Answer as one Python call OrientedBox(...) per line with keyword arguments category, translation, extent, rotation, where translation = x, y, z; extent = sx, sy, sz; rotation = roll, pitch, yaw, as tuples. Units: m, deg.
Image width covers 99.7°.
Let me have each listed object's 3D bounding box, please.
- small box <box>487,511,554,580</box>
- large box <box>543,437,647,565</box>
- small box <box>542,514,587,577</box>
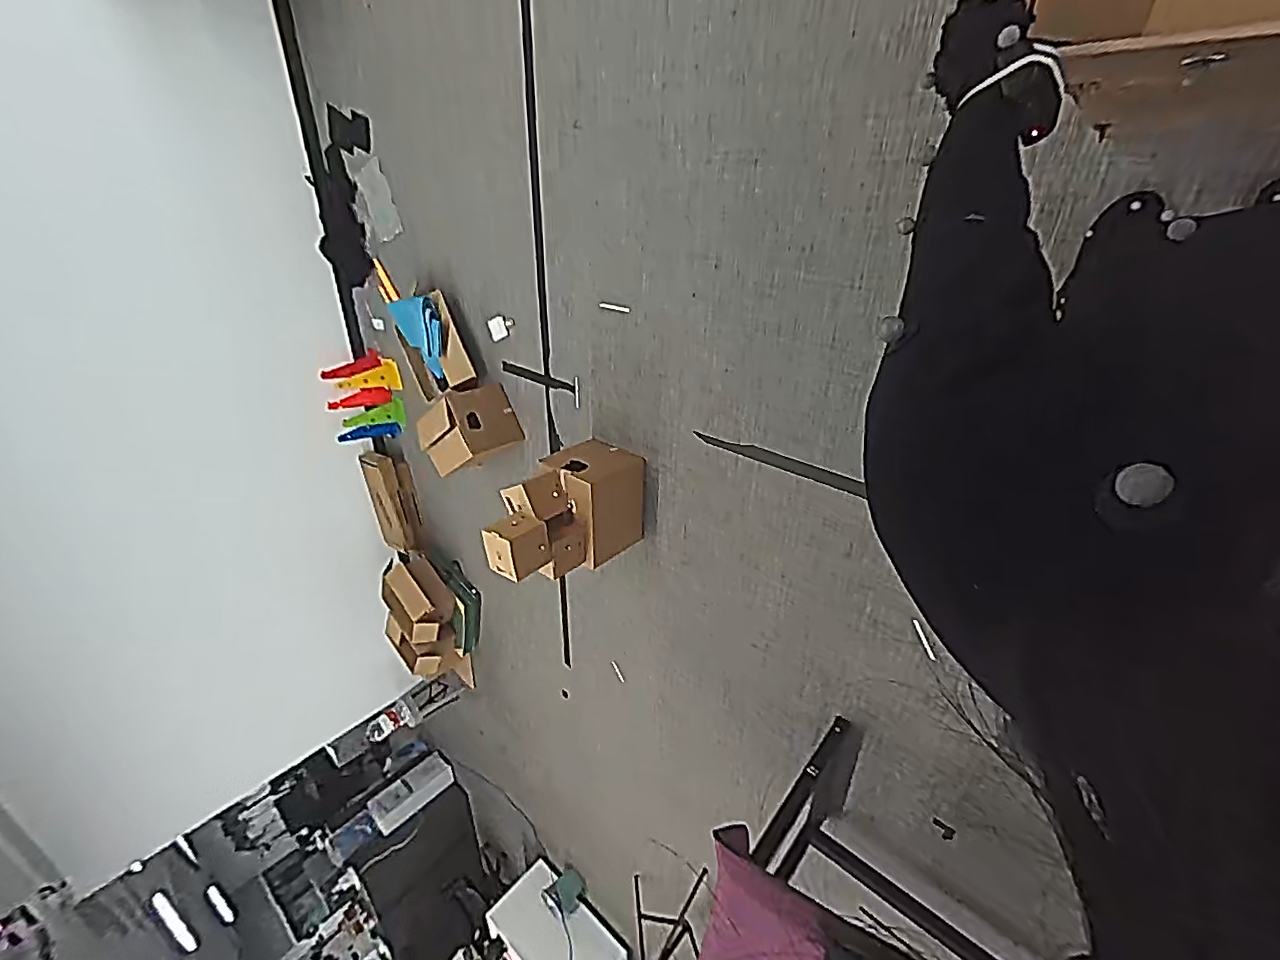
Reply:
OrientedBox(category="small box", translation=(-0.439, 0.235, 2.005), extent=(0.168, 0.176, 0.179), rotation=(16, 121, 38))
OrientedBox(category="large box", translation=(-0.180, 0.077, 2.277), extent=(0.320, 0.320, 0.408), rotation=(21, 123, 36))
OrientedBox(category="small box", translation=(-0.323, 0.253, 2.145), extent=(0.179, 0.176, 0.168), rotation=(22, 122, 37))
